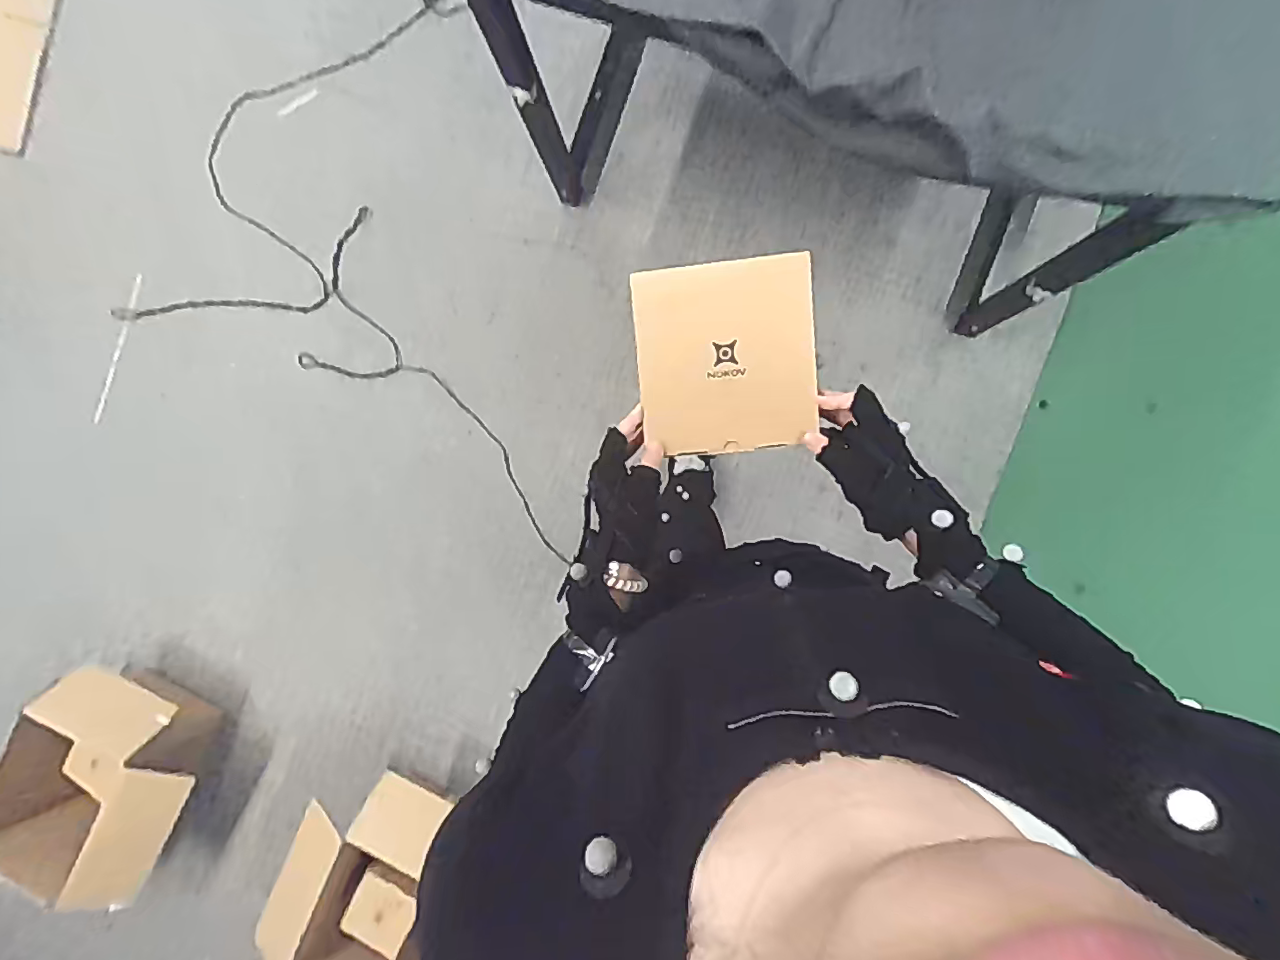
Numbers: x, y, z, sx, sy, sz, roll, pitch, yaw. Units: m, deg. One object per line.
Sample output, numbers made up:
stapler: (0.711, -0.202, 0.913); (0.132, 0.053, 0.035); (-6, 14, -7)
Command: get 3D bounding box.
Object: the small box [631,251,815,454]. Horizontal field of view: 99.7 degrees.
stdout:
small box: (0.083, -0.124, 0.581); (0.168, 0.176, 0.179); (-4, 97, 6)
